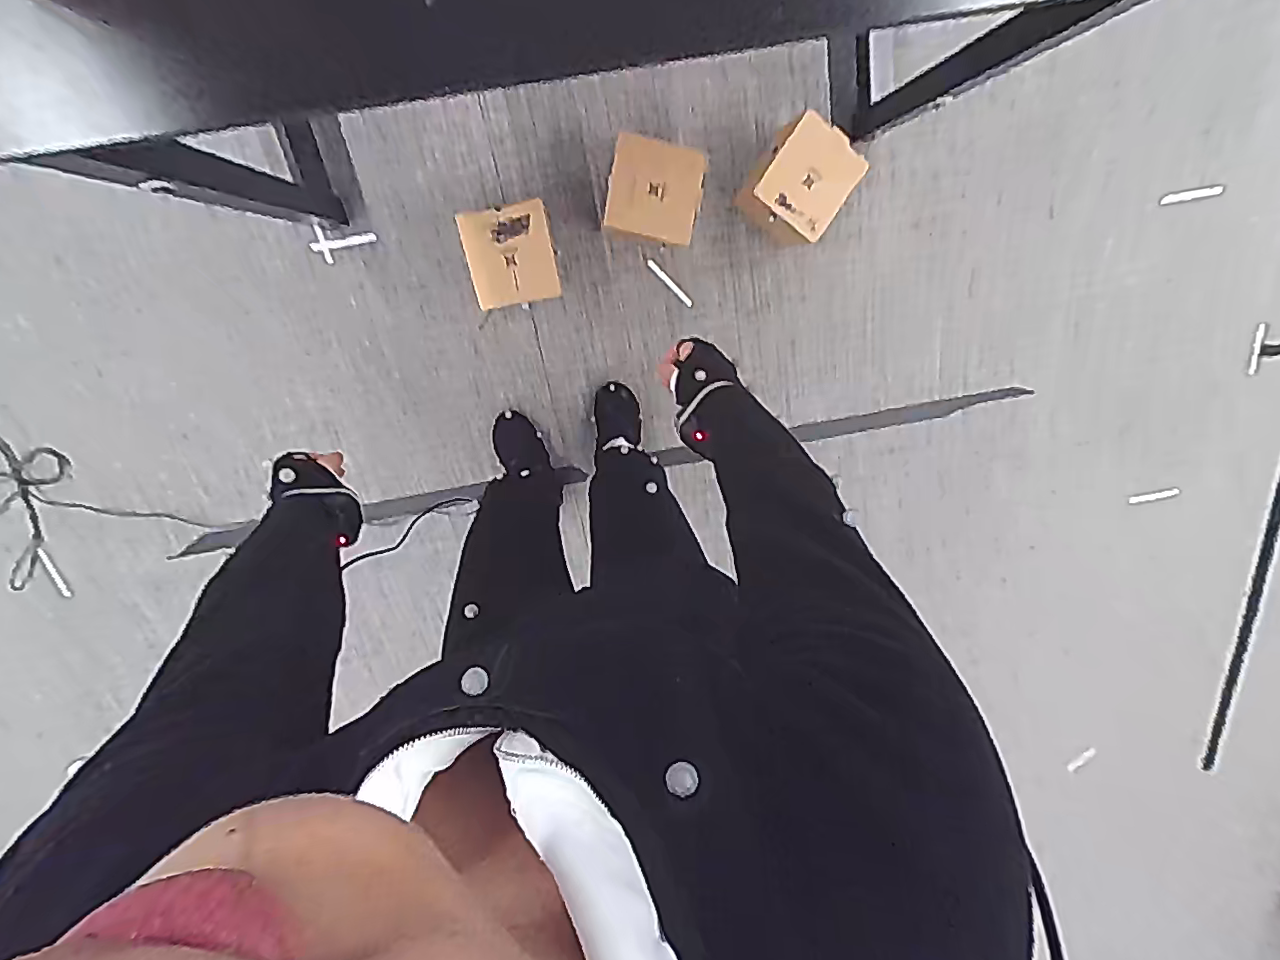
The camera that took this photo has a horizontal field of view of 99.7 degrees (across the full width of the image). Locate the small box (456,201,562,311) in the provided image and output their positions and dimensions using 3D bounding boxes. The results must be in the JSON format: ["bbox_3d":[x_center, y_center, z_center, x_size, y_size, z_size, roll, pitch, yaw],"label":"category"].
[{"bbox_3d":[-0.260,-0.454,1.111,0.168,0.176,0.179,-12,112,-2],"label":"small box"}]

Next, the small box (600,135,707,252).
[{"bbox_3d":[0.018,-0.571,1.103,0.179,0.176,0.168,9,108,-9],"label":"small box"}]

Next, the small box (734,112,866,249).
[{"bbox_3d":[0.318,-0.606,1.122,0.168,0.176,0.179,31,103,-16],"label":"small box"}]
